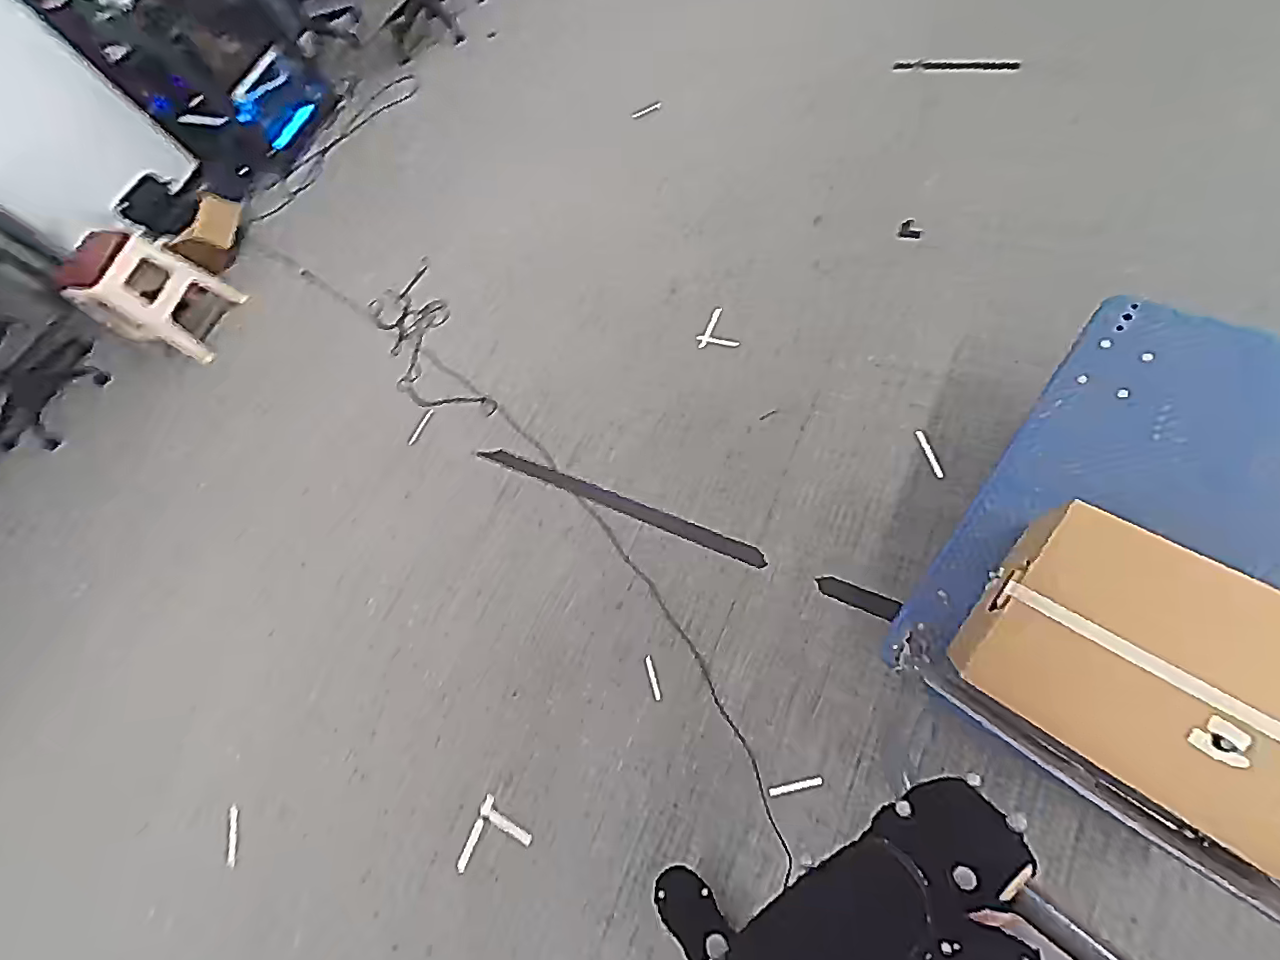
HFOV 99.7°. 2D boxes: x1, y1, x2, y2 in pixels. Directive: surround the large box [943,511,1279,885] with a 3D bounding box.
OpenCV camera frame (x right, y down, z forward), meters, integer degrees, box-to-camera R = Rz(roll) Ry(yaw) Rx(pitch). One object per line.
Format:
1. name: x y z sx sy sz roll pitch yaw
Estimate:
1. large box: 0.764 0.292 0.852 0.408 0.320 0.320 33 96 27
